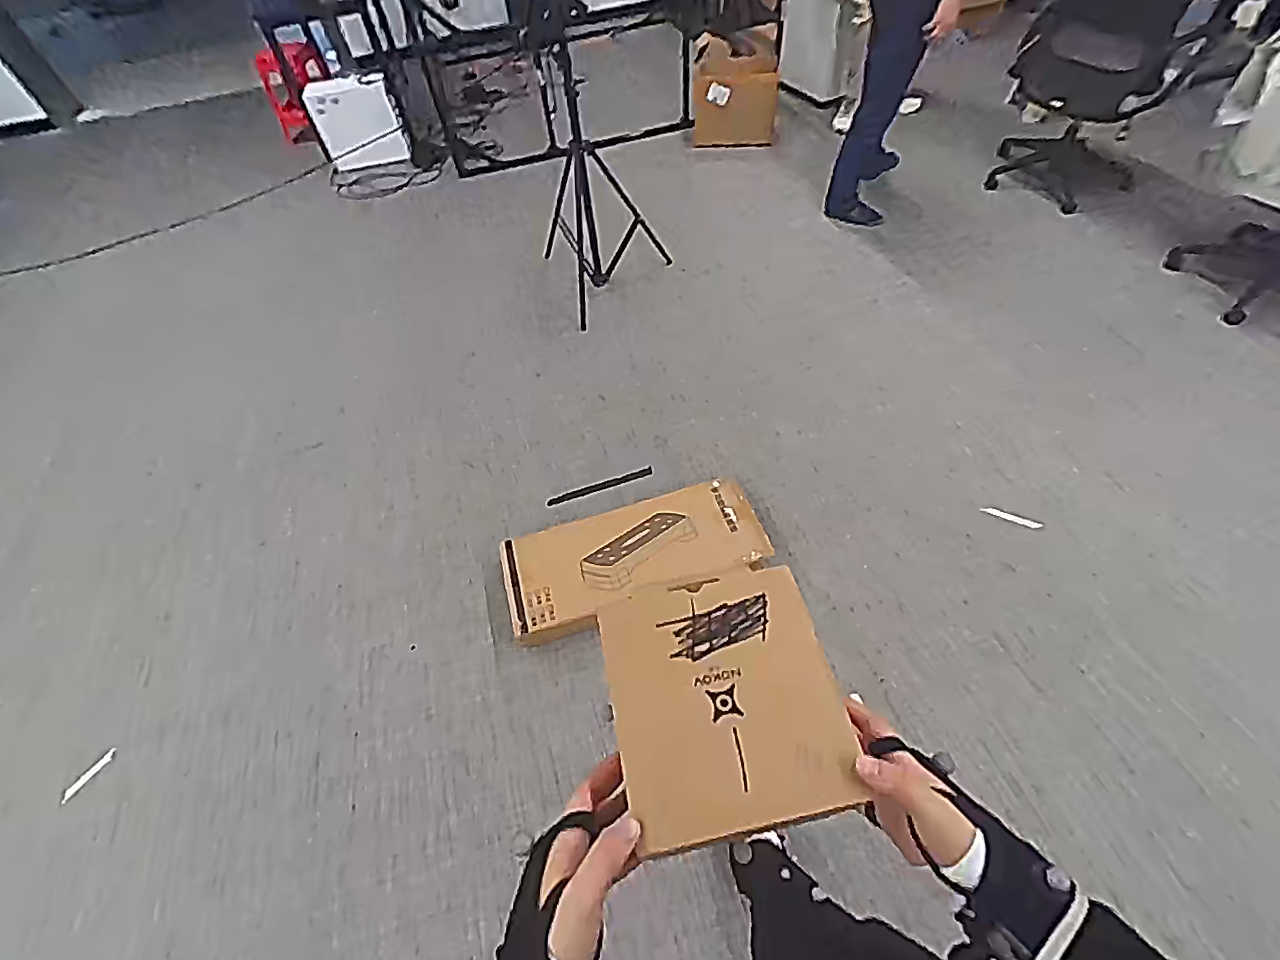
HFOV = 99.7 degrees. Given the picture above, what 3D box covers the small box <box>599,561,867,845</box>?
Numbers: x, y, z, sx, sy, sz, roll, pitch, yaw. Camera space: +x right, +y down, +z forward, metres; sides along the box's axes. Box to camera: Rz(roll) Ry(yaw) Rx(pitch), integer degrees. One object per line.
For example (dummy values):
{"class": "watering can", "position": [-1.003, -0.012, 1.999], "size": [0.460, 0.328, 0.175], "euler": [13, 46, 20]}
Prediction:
{"class": "small box", "position": [0.064, 0.198, 0.473], "size": [0.168, 0.176, 0.179], "euler": [-12, 55, -3]}
